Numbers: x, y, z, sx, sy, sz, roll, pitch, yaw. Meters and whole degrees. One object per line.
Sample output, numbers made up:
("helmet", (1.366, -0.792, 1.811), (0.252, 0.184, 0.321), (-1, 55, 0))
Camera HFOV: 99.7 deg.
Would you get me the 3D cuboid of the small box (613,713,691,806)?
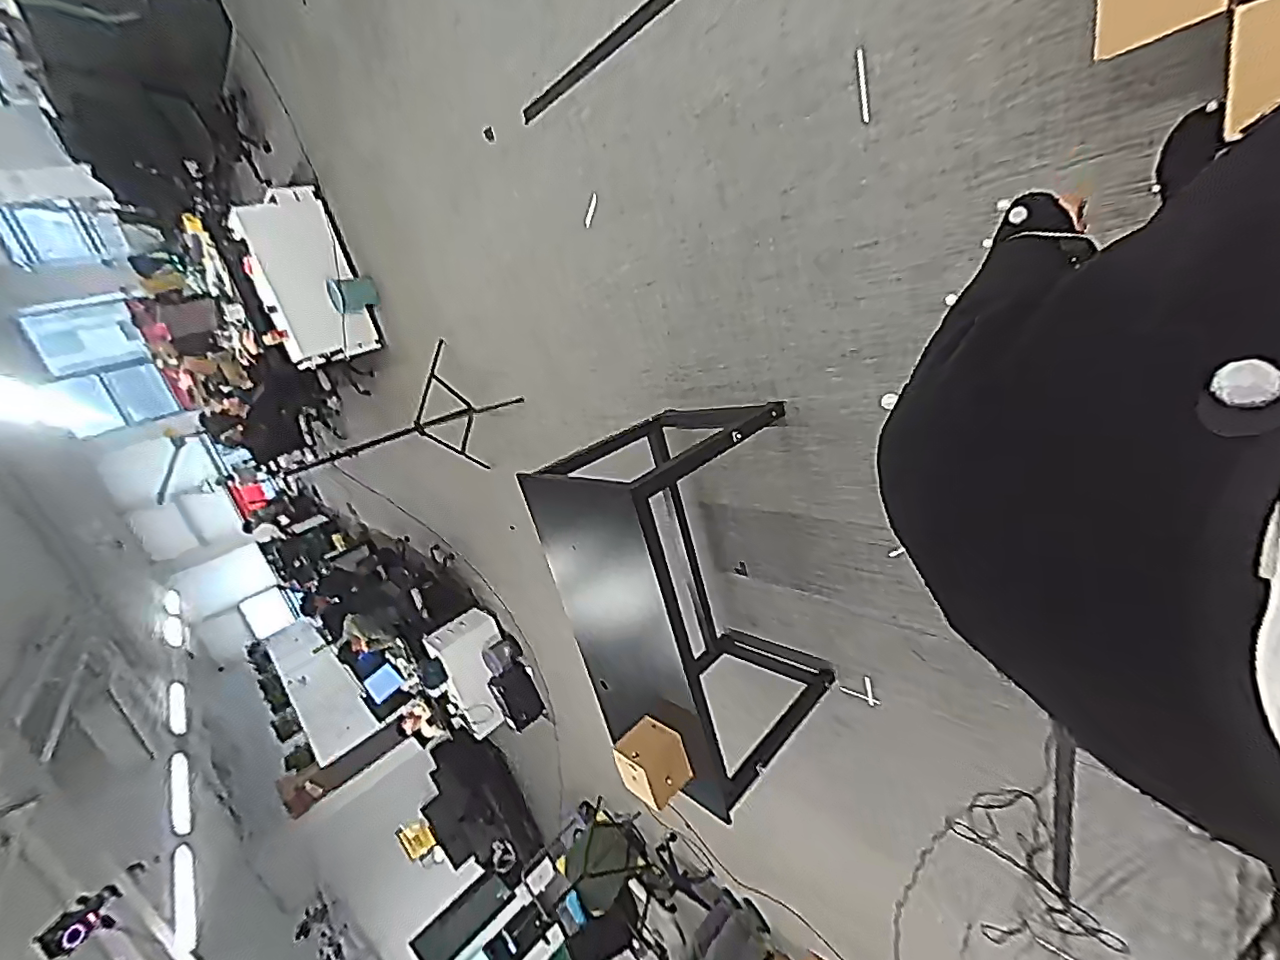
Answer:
("small box", (0.045, 0.913, 1.780), (0.168, 0.176, 0.179), (4, 117, 50))
